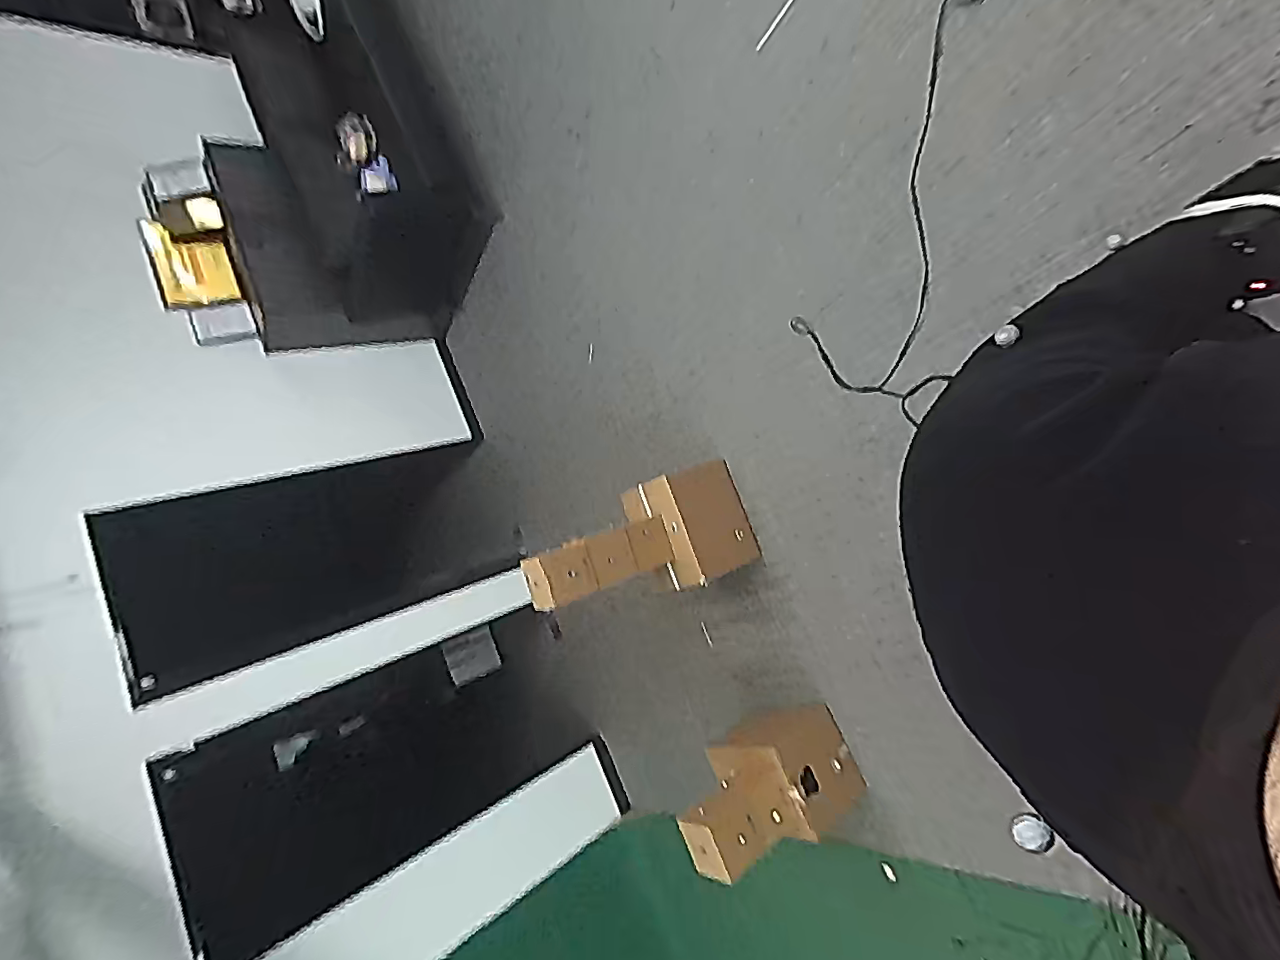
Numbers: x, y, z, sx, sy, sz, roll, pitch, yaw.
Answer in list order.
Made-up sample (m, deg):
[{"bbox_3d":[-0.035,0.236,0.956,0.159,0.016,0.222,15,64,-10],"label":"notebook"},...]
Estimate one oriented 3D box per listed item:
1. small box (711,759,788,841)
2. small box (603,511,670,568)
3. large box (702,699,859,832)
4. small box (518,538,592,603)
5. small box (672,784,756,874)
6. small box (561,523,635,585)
[{"bbox_3d":[0.368,1.058,1.803,0.179,0.176,0.168,-34,77,53],"label":"small box"},{"bbox_3d":[-0.018,0.218,1.971,0.168,0.176,0.179,-20,87,55],"label":"small box"},{"bbox_3d":[0.515,1.043,2.016,0.408,0.320,0.320,-37,74,52],"label":"large box"},{"bbox_3d":[-0.273,0.295,1.779,0.179,0.176,0.168,-20,87,54],"label":"small box"},{"bbox_3d":[0.240,1.088,1.704,0.179,0.176,0.168,-34,76,52],"label":"small box"},{"bbox_3d":[-0.145,0.254,1.872,0.168,0.176,0.179,-18,89,55],"label":"small box"}]
